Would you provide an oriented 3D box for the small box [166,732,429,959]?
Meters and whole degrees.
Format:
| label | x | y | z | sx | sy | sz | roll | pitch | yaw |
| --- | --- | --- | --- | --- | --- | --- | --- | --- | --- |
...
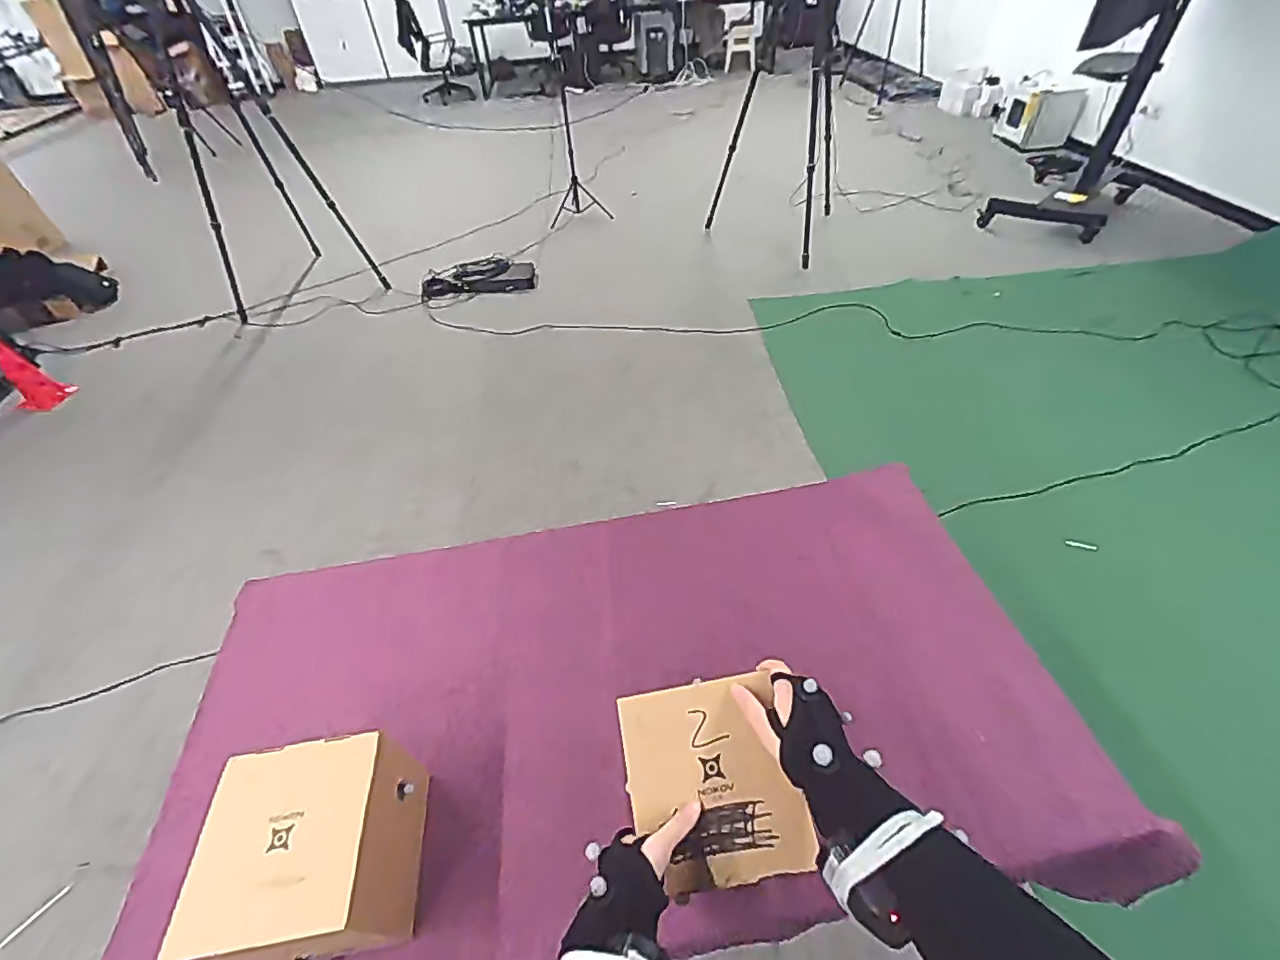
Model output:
| label | x | y | z | sx | sy | sz | roll | pitch | yaw |
| --- | --- | --- | --- | --- | --- | --- | --- | --- | --- |
| small box | -0.349 | 0.409 | 0.598 | 0.168 | 0.176 | 0.179 | -9 | 47 | -3 |
